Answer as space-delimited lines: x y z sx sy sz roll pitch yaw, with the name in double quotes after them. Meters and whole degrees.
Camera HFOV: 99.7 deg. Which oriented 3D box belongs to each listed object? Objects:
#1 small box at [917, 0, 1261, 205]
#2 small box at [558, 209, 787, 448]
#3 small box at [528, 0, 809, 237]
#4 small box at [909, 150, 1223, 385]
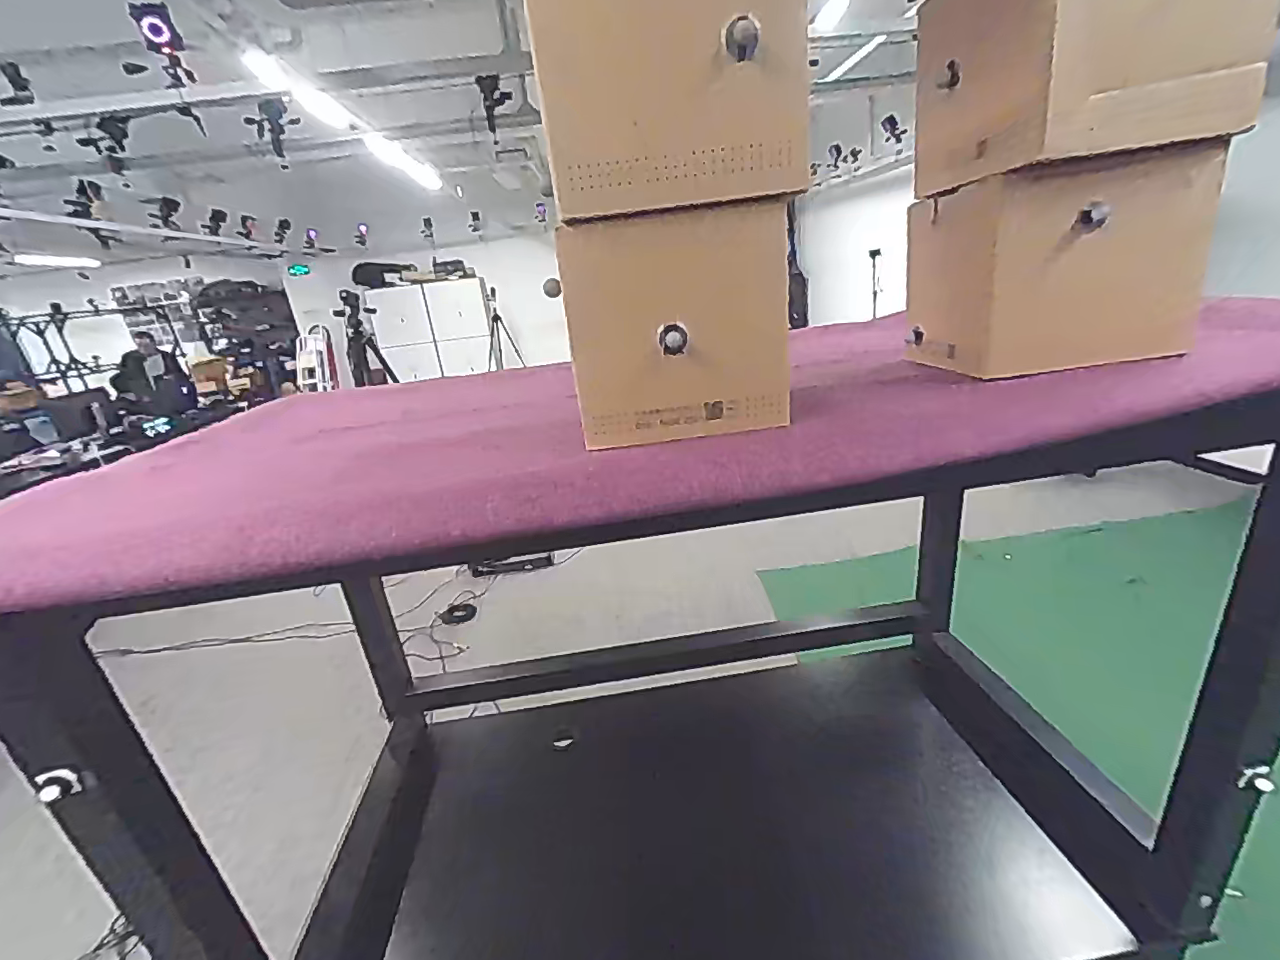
0.361 -0.340 0.457 0.179 0.176 0.168 -8 19 -1 "small box"
0.029 -0.130 0.482 0.168 0.176 0.179 -6 20 -1 "small box"
0.021 -0.279 0.415 0.179 0.176 0.168 -8 19 0 "small box"
0.384 -0.192 0.524 0.179 0.176 0.168 -7 19 3 "small box"
